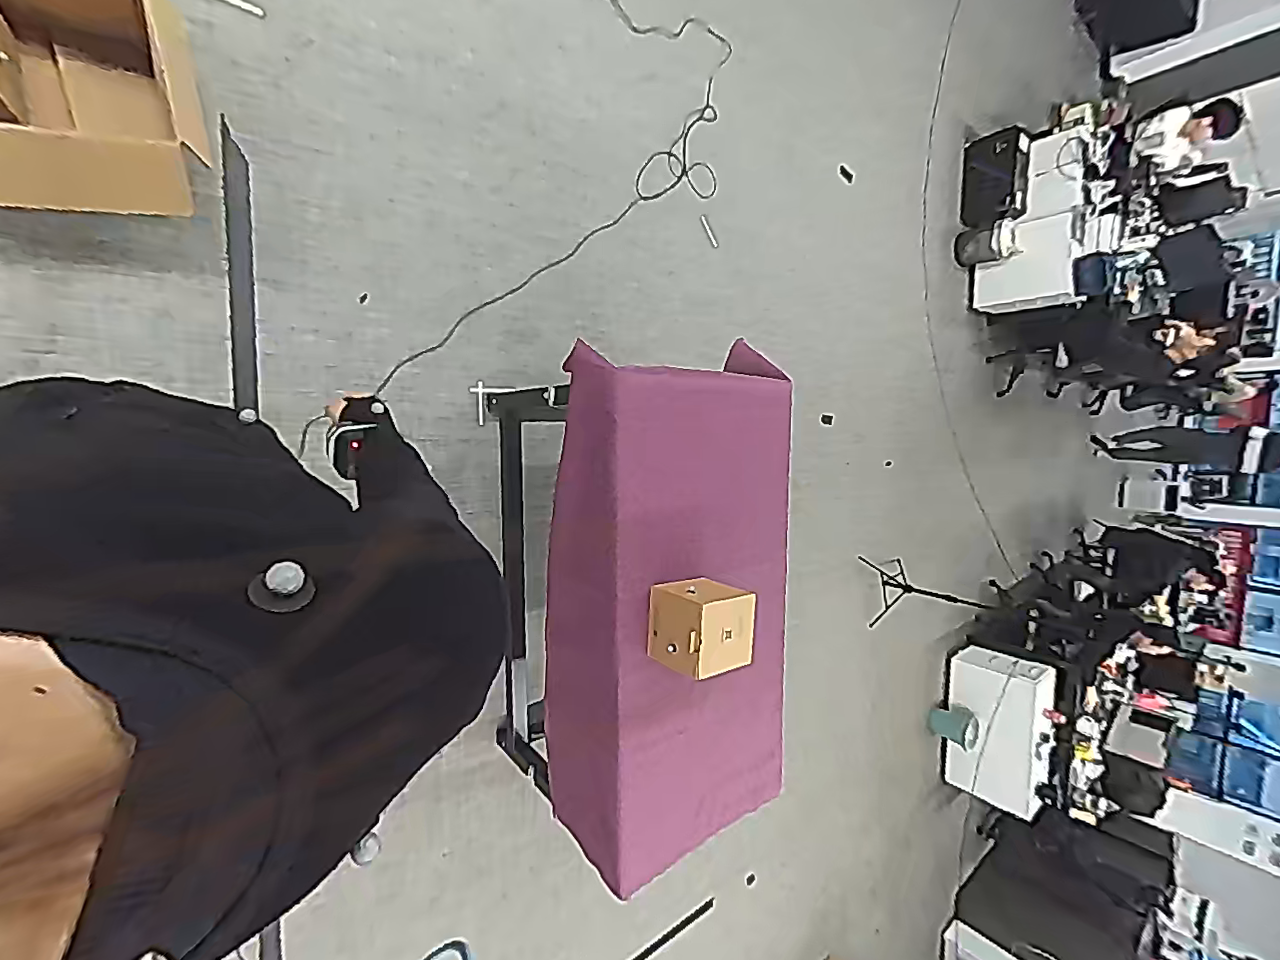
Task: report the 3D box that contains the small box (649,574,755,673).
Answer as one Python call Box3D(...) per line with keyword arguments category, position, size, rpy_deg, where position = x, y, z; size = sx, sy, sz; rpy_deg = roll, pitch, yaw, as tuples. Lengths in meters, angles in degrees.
Box3D(category="small box", position=(0.138, 0.319, 1.239), size=(0.179, 0.176, 0.168), rpy_deg=(0, 95, -40))
